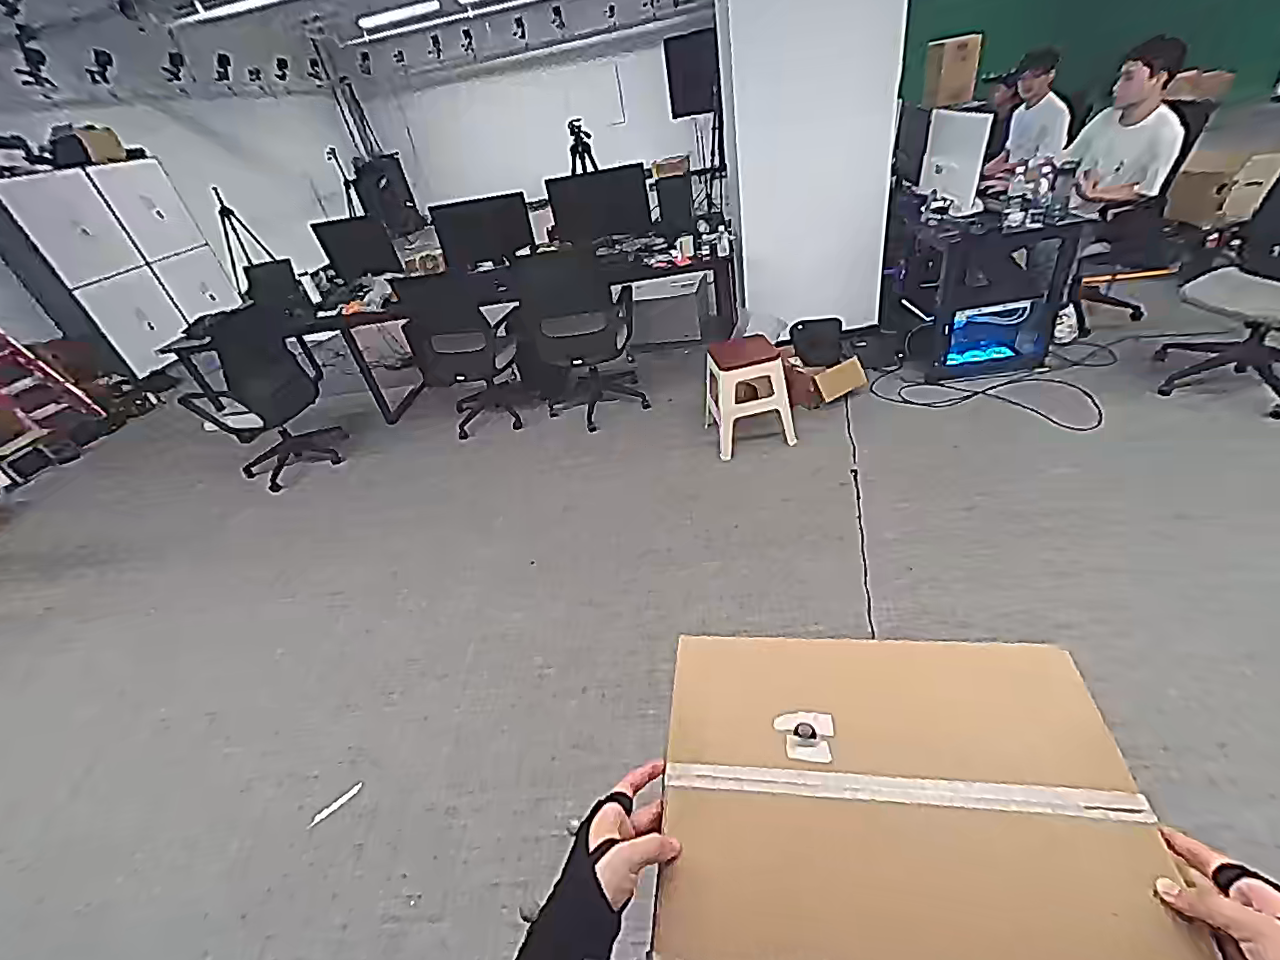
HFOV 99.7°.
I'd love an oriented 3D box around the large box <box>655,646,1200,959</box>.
[{"bbox_3d":[0.249,0.403,0.596,0.408,0.320,0.320,-3,40,12],"label":"large box"}]
